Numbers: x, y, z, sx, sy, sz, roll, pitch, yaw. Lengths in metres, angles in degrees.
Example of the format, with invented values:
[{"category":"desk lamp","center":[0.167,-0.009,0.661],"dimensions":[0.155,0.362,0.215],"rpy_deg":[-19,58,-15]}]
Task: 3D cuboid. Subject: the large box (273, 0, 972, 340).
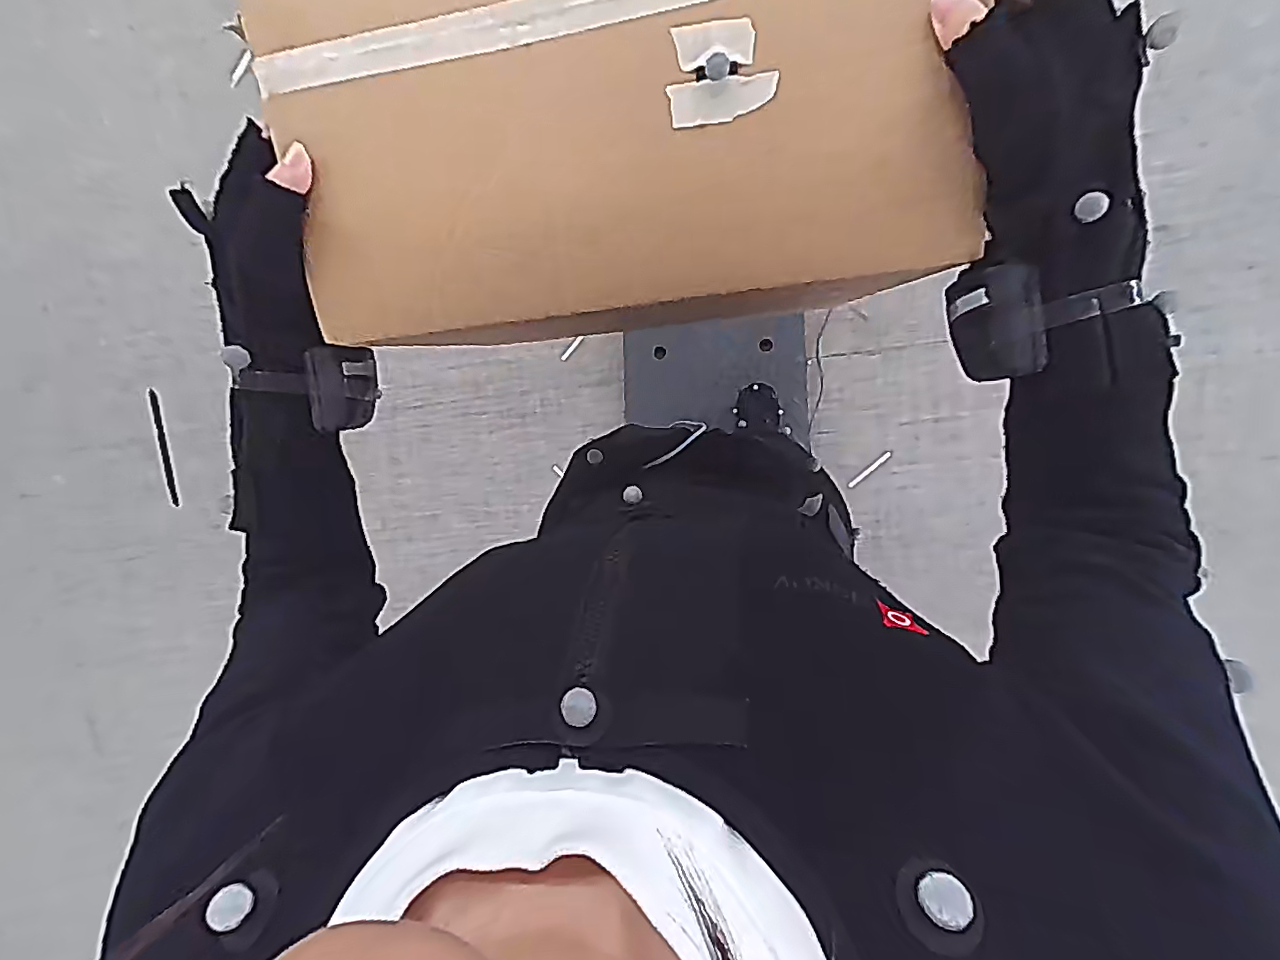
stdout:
[{"category":"large box","center":[-0.007,-0.302,0.452],"dimensions":[0.408,0.320,0.320],"rpy_deg":[-5,104,8]}]
